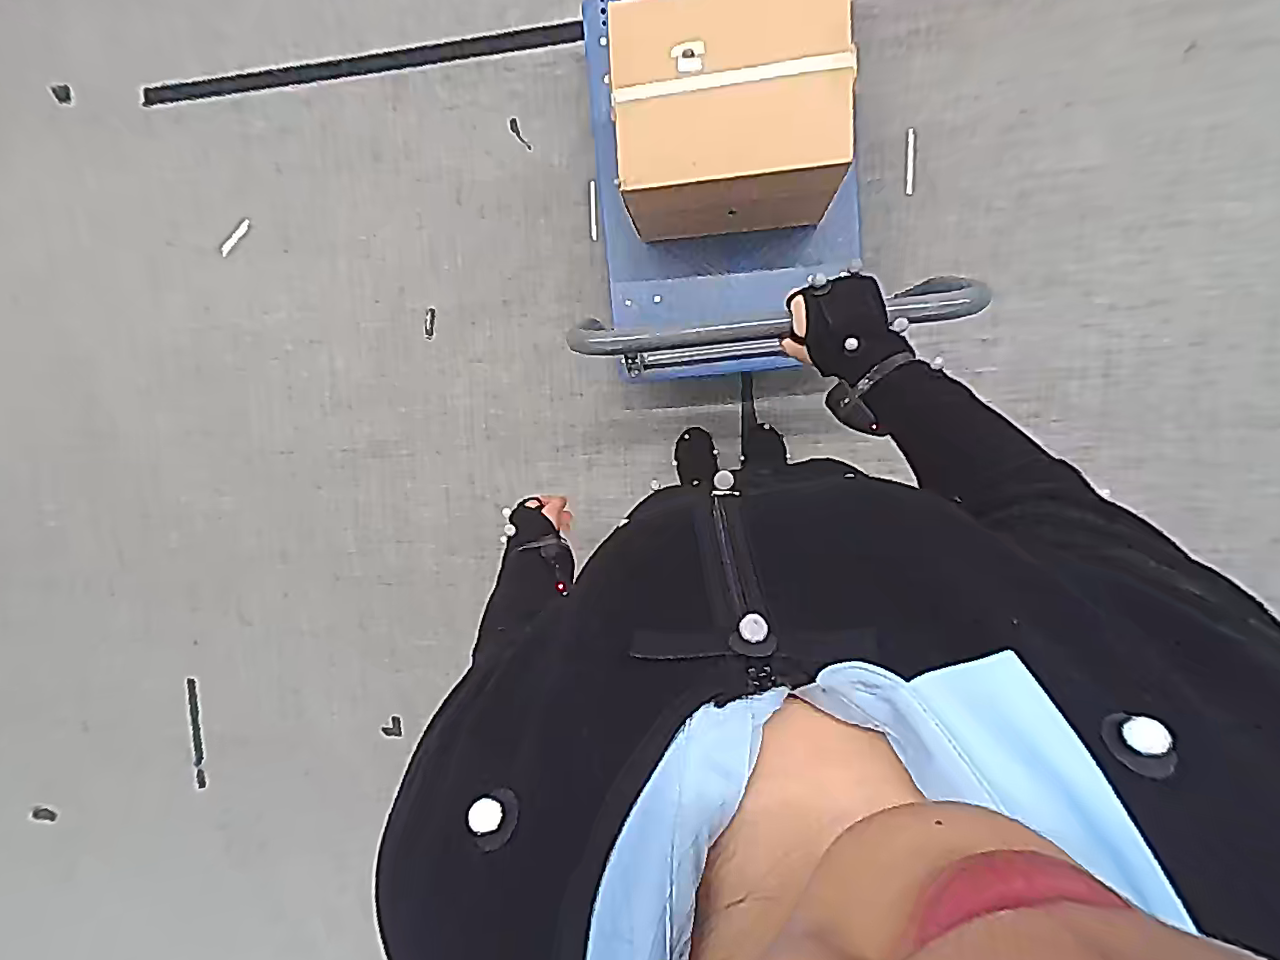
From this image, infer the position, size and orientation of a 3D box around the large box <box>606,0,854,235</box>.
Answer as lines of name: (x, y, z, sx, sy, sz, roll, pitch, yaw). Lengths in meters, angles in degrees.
large box: (0.173, -0.703, 1.053, 0.408, 0.320, 0.320, -3, 96, 9)
